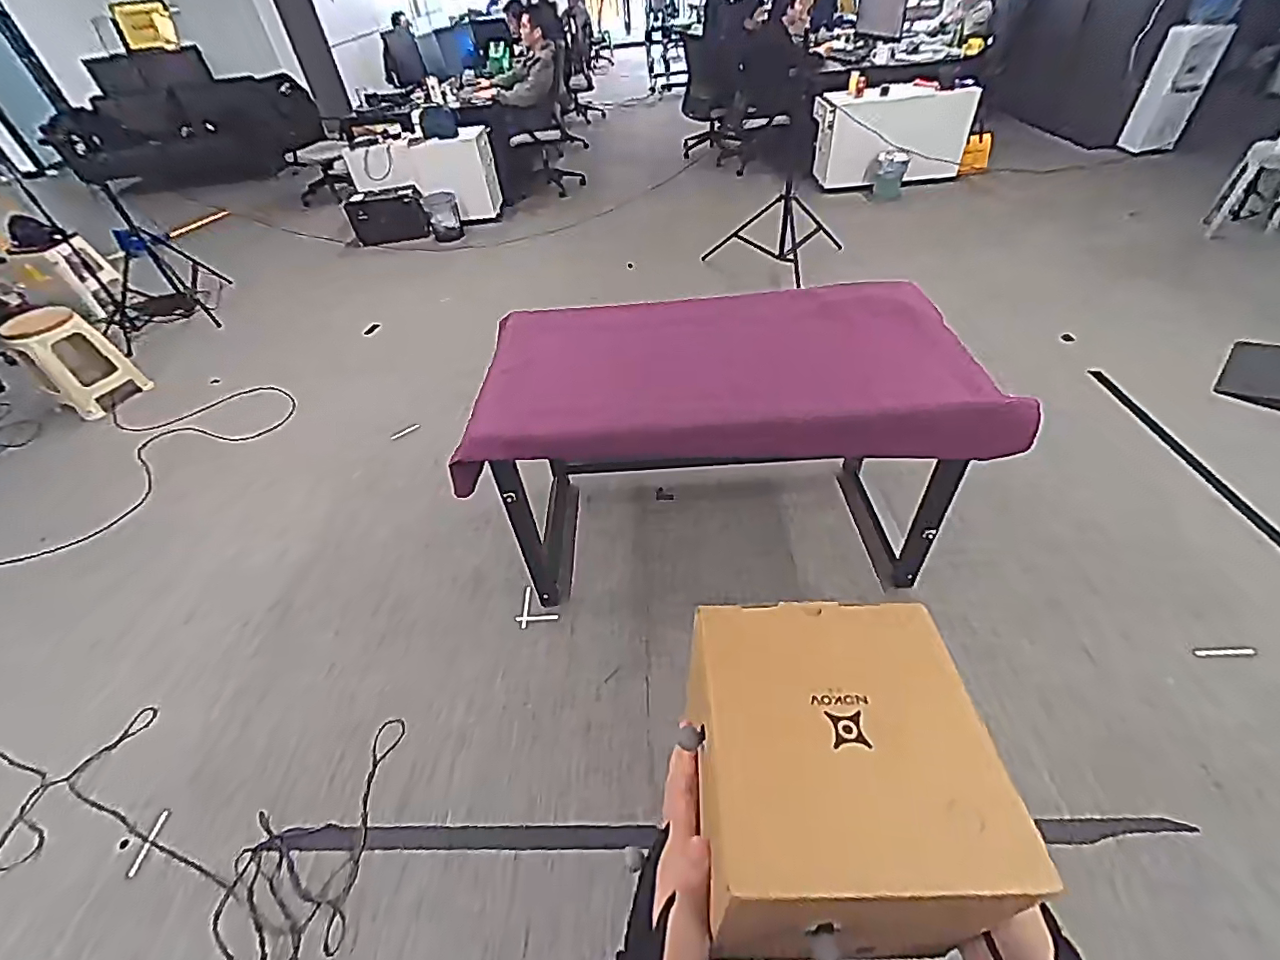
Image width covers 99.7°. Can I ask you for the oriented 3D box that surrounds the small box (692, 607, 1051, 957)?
[{"bbox_3d":[0.127,0.212,0.384,0.168,0.176,0.179,-1,39,0],"label":"small box"}]
